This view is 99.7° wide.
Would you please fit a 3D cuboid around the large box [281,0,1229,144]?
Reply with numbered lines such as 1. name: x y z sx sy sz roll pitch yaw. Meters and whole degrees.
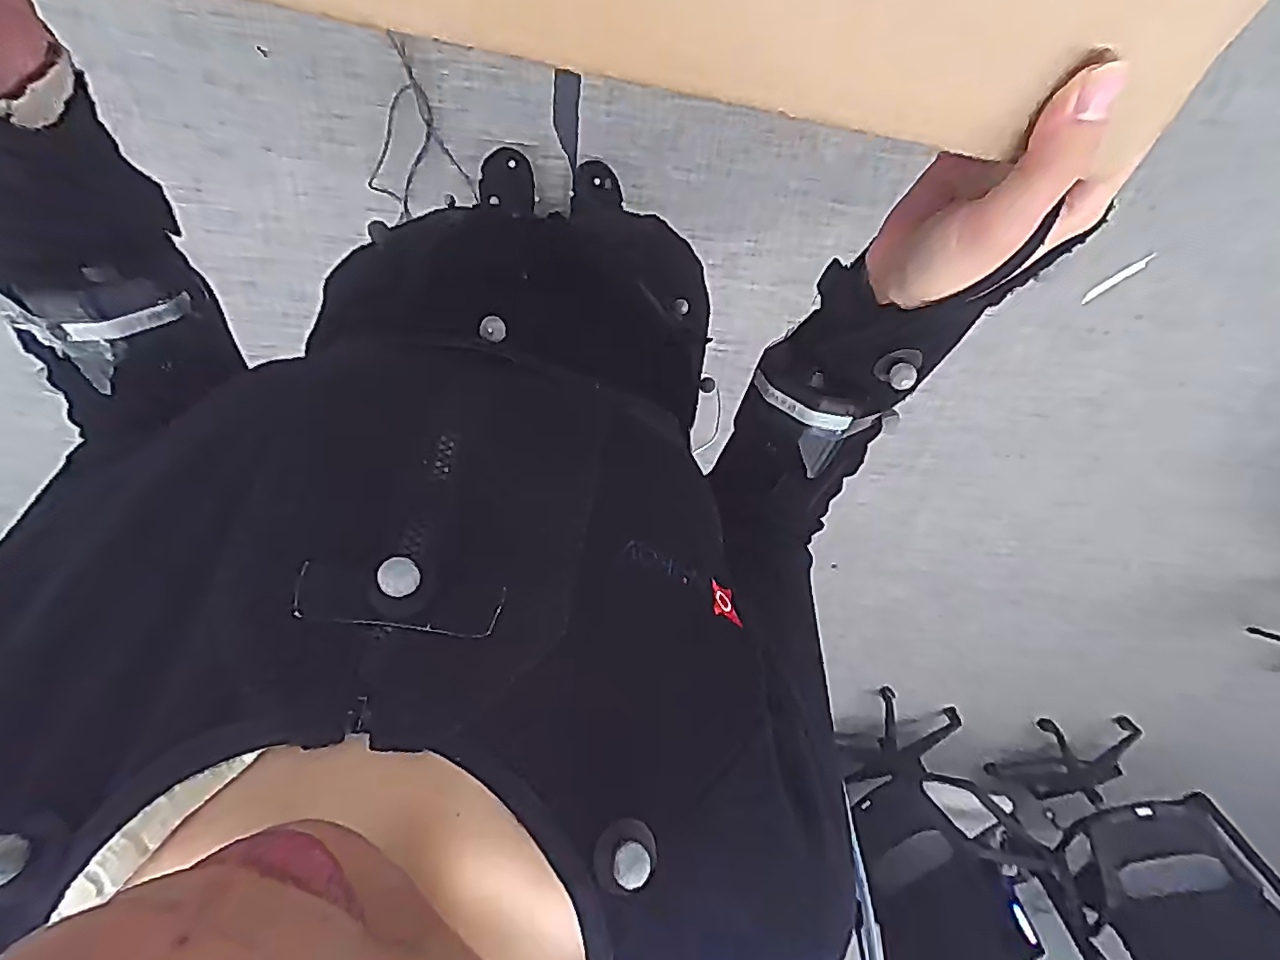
1. large box: -0.003 -0.347 0.140 0.408 0.320 0.320 6 144 -8
